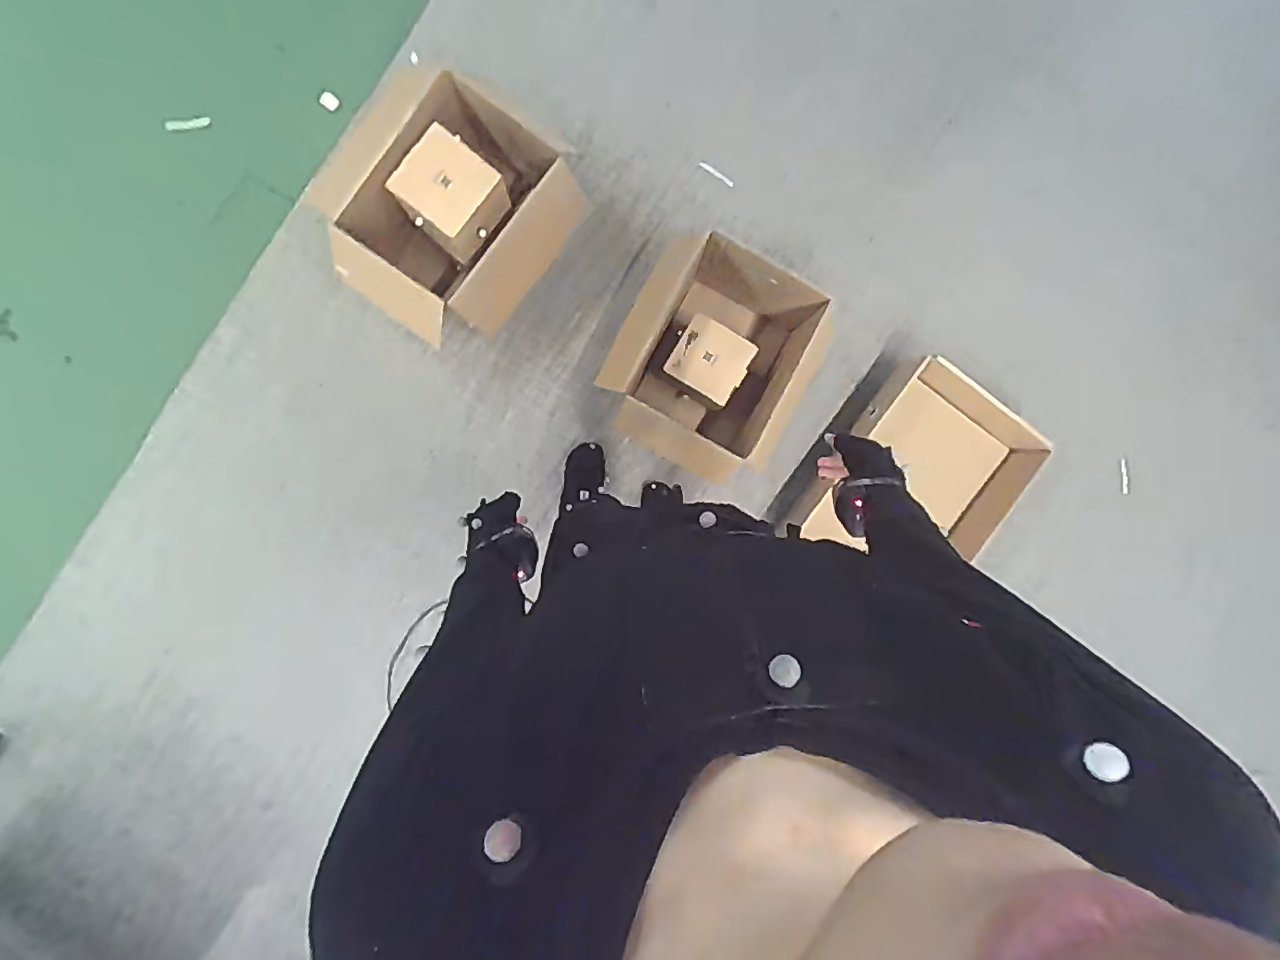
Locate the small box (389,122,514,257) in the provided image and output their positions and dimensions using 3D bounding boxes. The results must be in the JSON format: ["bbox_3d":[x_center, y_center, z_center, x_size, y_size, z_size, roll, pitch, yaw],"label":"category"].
[{"bbox_3d":[-0.400,-0.619,1.184,0.179,0.176,0.168,38,89,-3],"label":"small box"}]
